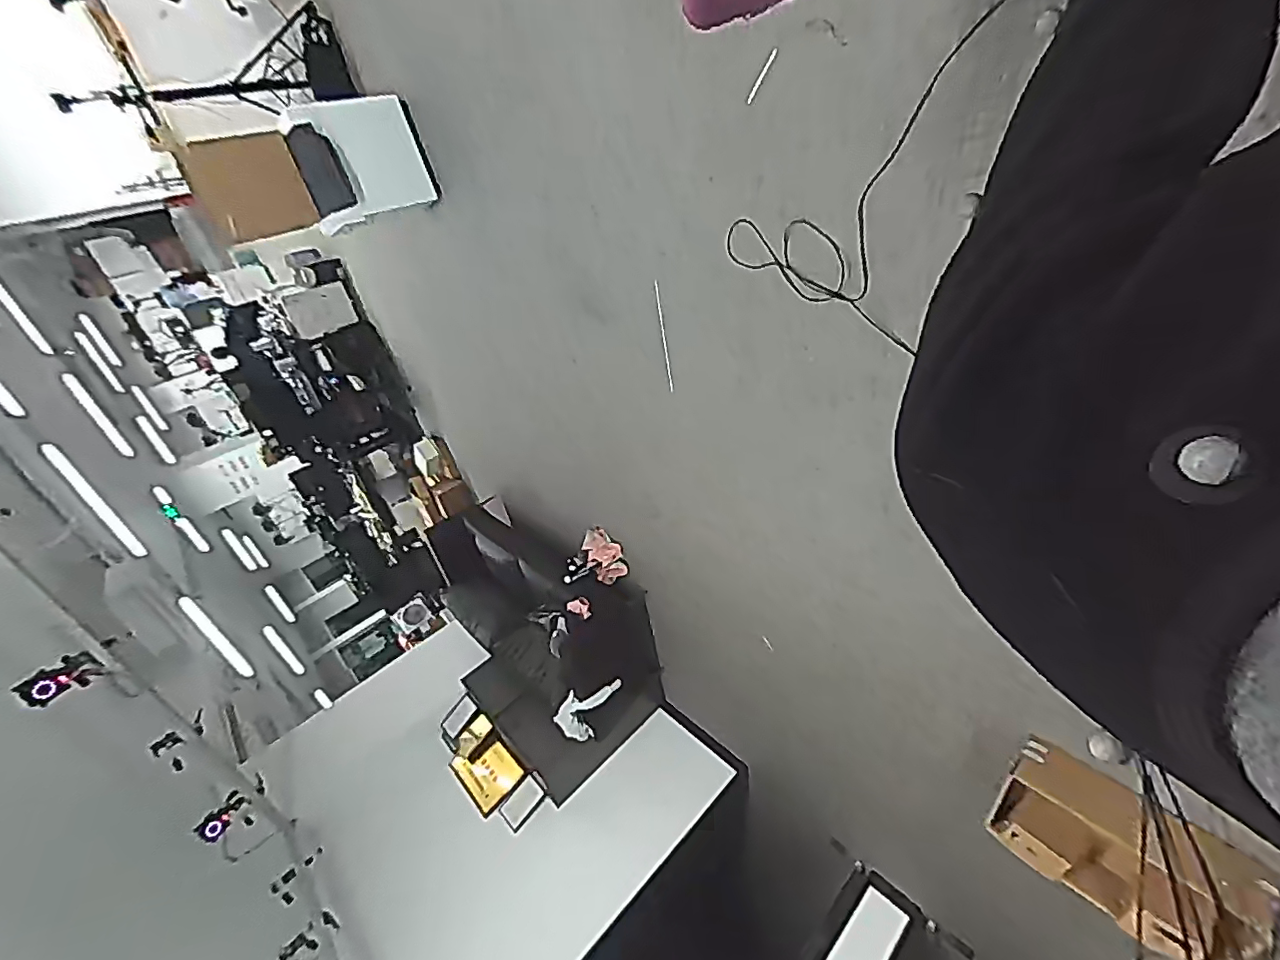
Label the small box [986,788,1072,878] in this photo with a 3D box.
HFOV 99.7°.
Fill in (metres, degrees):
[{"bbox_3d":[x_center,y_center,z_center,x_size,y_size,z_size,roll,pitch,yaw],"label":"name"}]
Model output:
[{"bbox_3d":[1.362,1.229,1.890,0.179,0.176,0.168,32,140,33],"label":"small box"}]
